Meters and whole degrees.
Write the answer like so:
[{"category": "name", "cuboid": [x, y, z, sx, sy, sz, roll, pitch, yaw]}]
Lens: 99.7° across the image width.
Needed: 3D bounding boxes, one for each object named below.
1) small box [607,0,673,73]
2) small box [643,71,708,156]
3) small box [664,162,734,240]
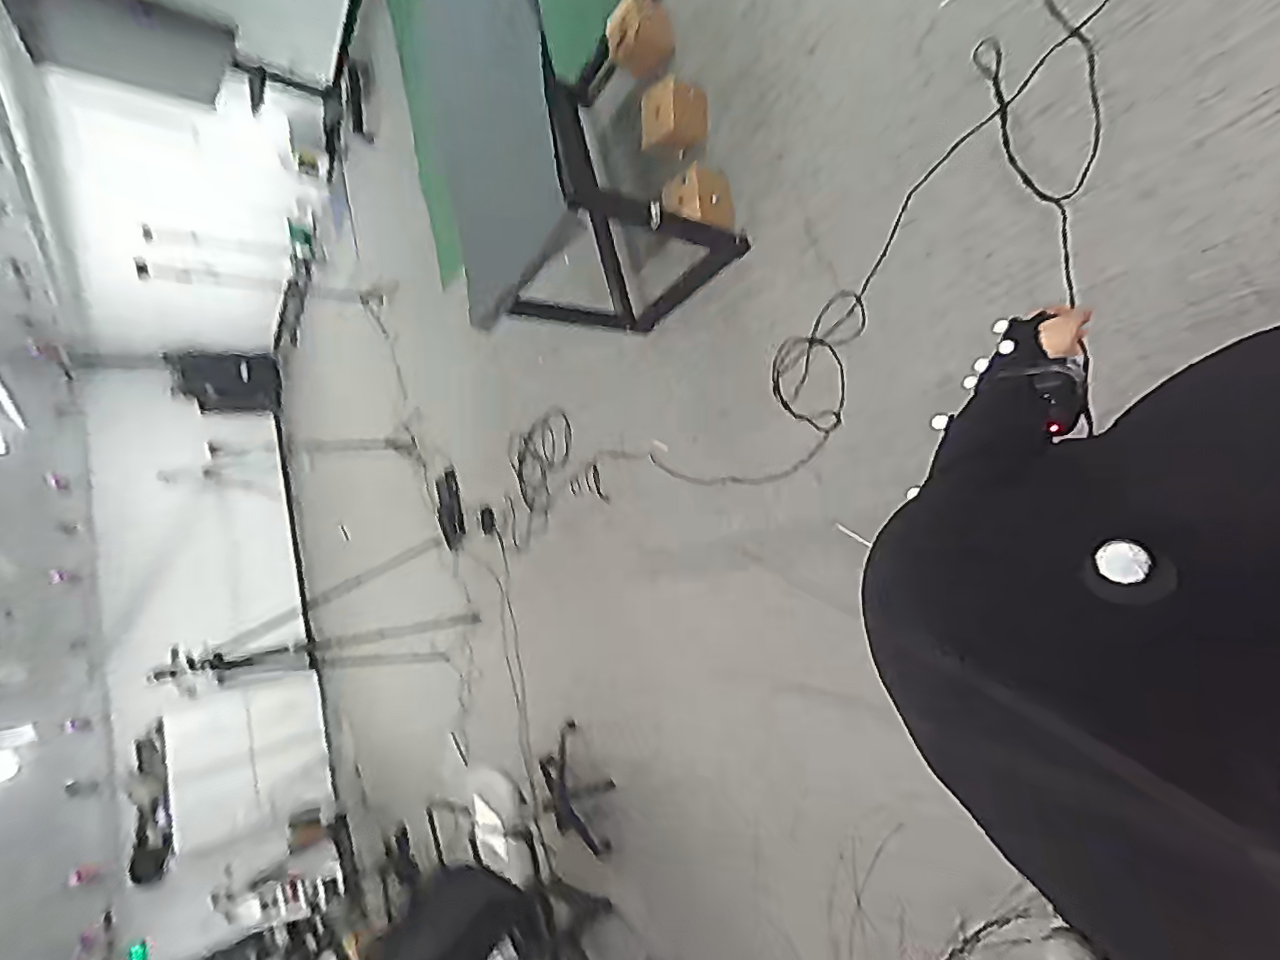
[{"category": "small box", "cuboid": [0.003, -1.658, 2.000, 0.168, 0.176, 0.179, -17, 81, 48]}, {"category": "small box", "cuboid": [0.128, -1.282, 1.906, 0.168, 0.176, 0.179, 5, 100, 49]}, {"category": "small box", "cuboid": [0.205, -0.947, 1.858, 0.168, 0.176, 0.179, -7, 90, 49]}]
